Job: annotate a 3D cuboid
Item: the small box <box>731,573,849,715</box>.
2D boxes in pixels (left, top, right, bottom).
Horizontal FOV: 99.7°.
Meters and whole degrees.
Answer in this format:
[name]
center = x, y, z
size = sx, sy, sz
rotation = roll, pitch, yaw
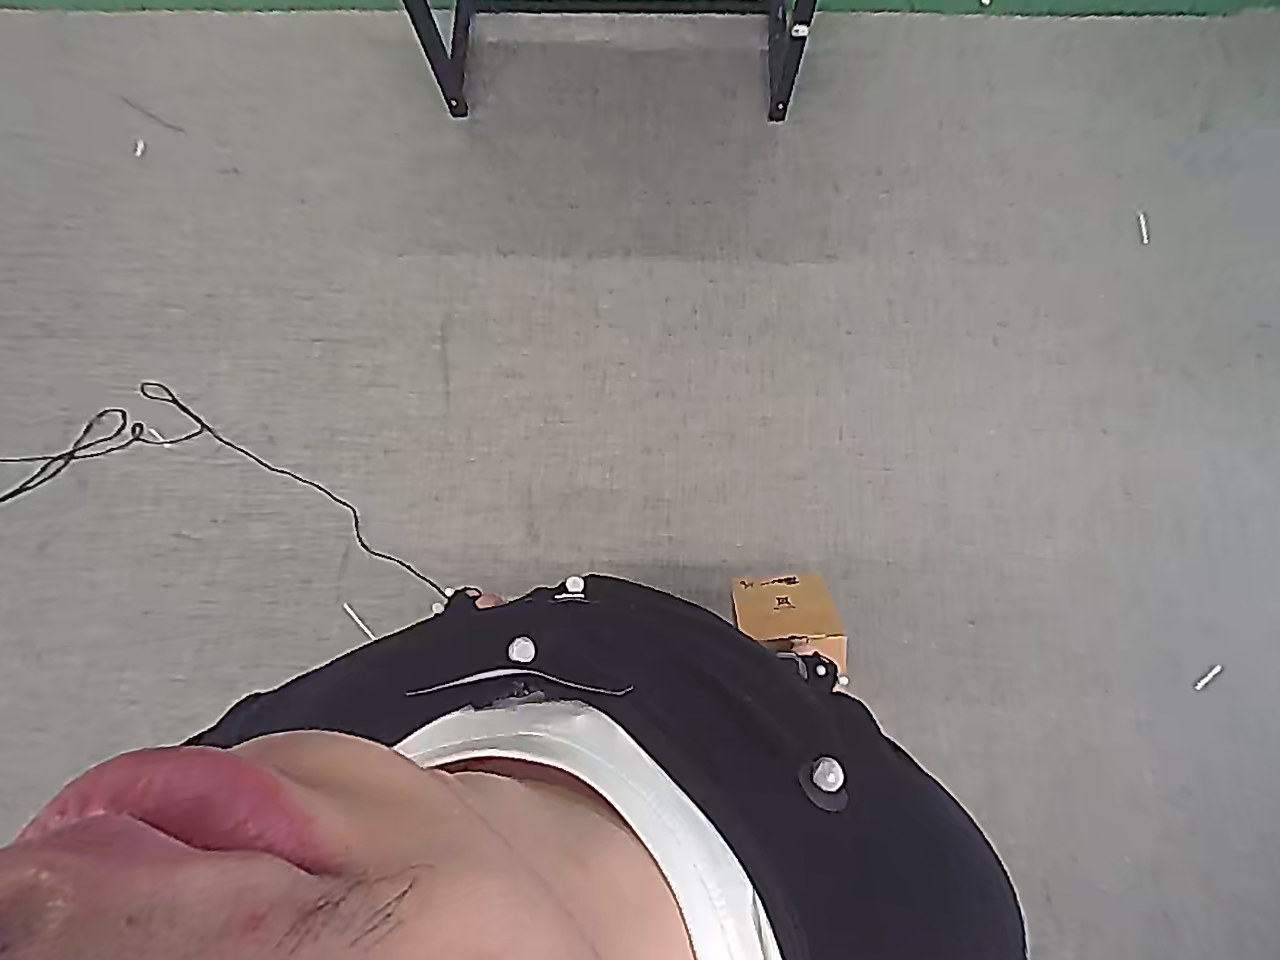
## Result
[small box]
center = 0.261, 0.291, 0.953
size = 0.168, 0.179, 0.176
rotation = -9, 115, 5
